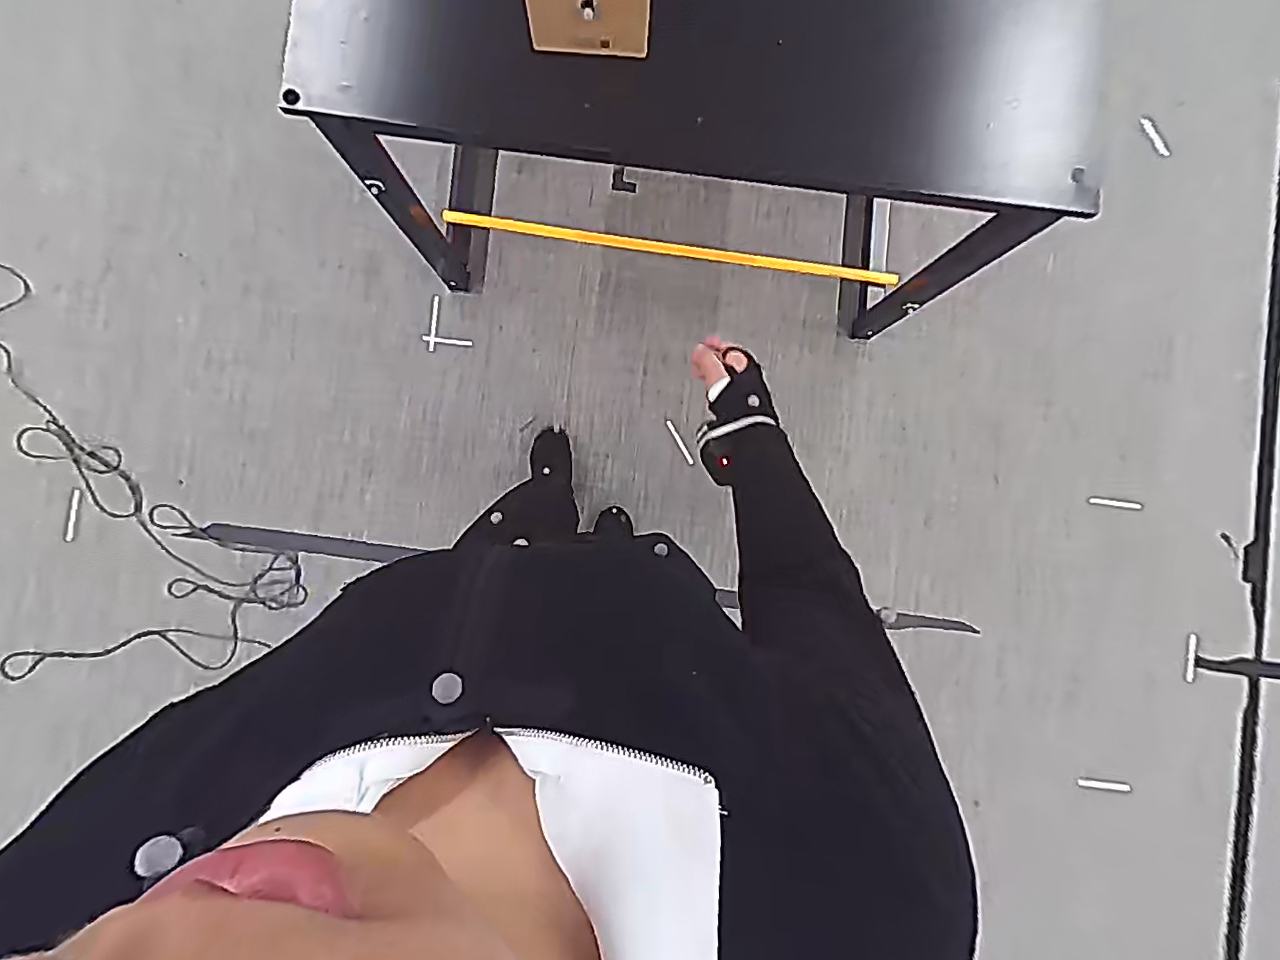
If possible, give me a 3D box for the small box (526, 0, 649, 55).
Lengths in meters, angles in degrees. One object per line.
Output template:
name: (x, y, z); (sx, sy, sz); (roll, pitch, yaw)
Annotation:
small box: (-0.067, -0.710, 0.715); (0.168, 0.176, 0.179); (2, 88, -2)
